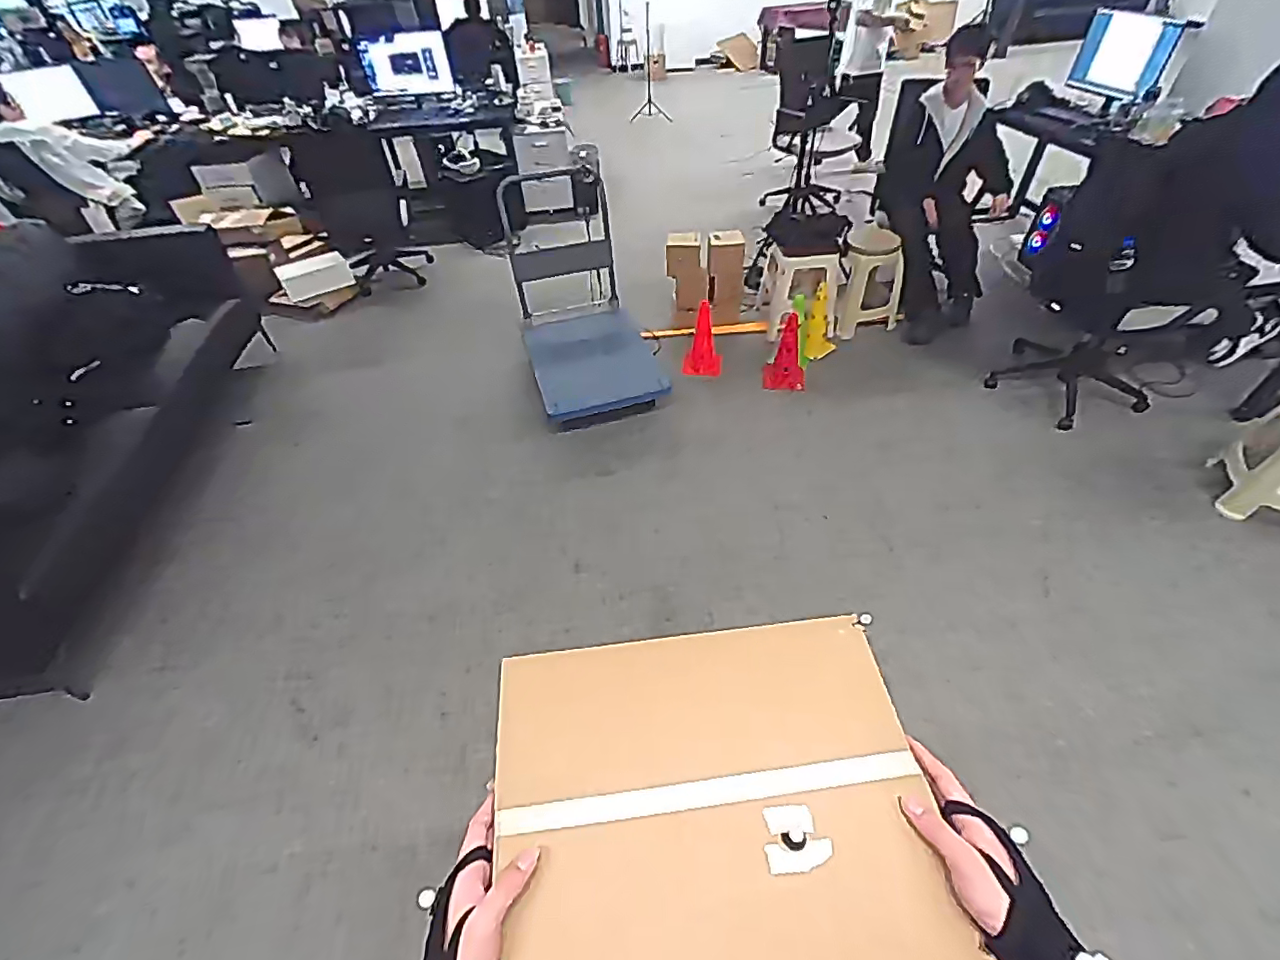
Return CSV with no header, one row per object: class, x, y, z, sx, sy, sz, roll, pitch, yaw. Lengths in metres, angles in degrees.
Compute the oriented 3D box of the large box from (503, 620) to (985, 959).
large box,0.071,0.399,0.634,0.408,0.320,0.320,-6,50,-4
